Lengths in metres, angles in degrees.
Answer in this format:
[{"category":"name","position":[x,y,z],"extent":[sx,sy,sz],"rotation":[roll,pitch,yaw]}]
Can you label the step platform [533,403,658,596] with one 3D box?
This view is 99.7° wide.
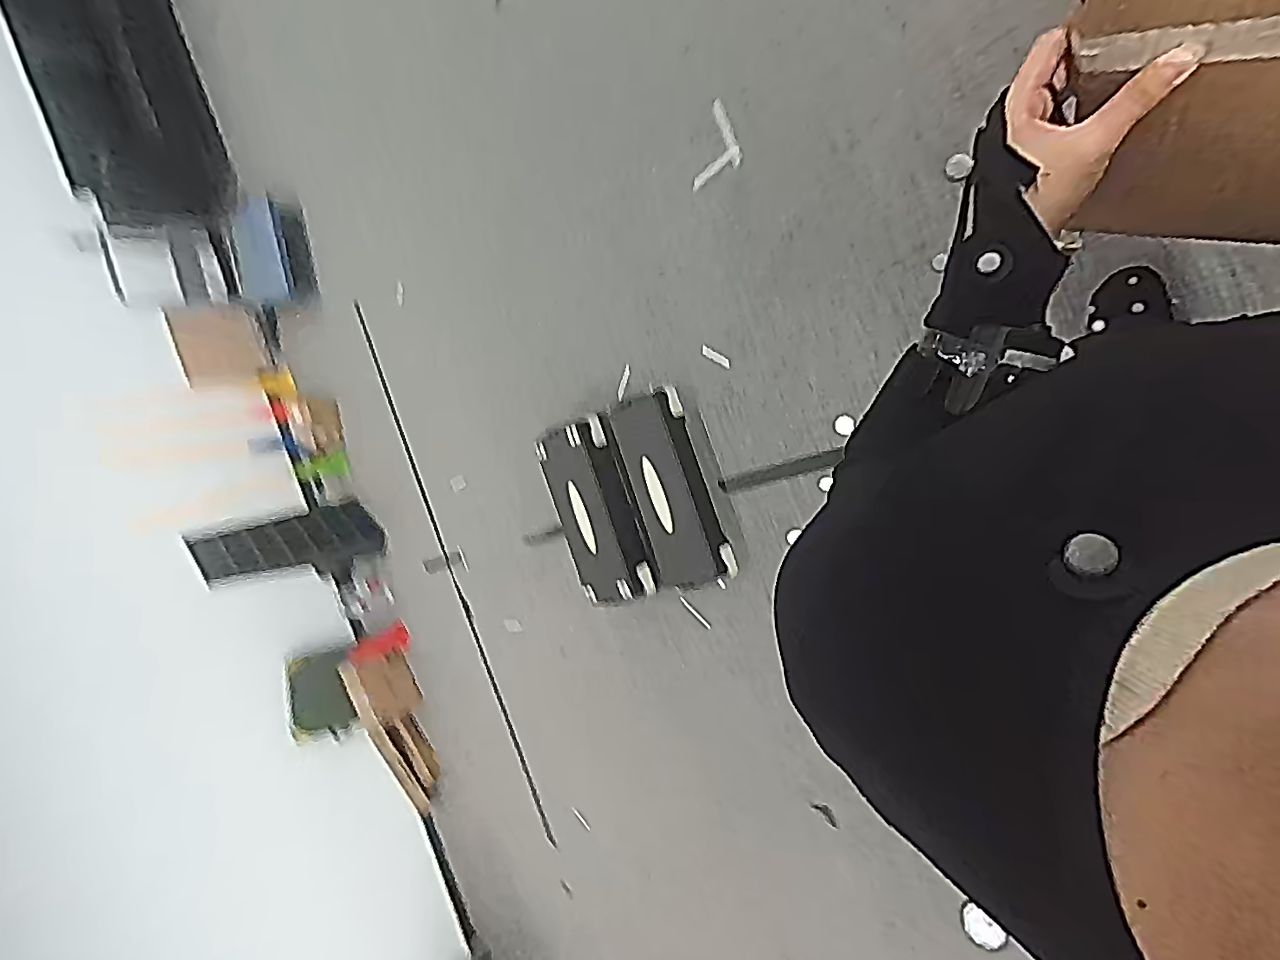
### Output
[{"category":"step platform","position":[-0.167,0.077,1.968],"extent":[0.286,0.204,0.684],"rotation":[-10,96,44]}]
